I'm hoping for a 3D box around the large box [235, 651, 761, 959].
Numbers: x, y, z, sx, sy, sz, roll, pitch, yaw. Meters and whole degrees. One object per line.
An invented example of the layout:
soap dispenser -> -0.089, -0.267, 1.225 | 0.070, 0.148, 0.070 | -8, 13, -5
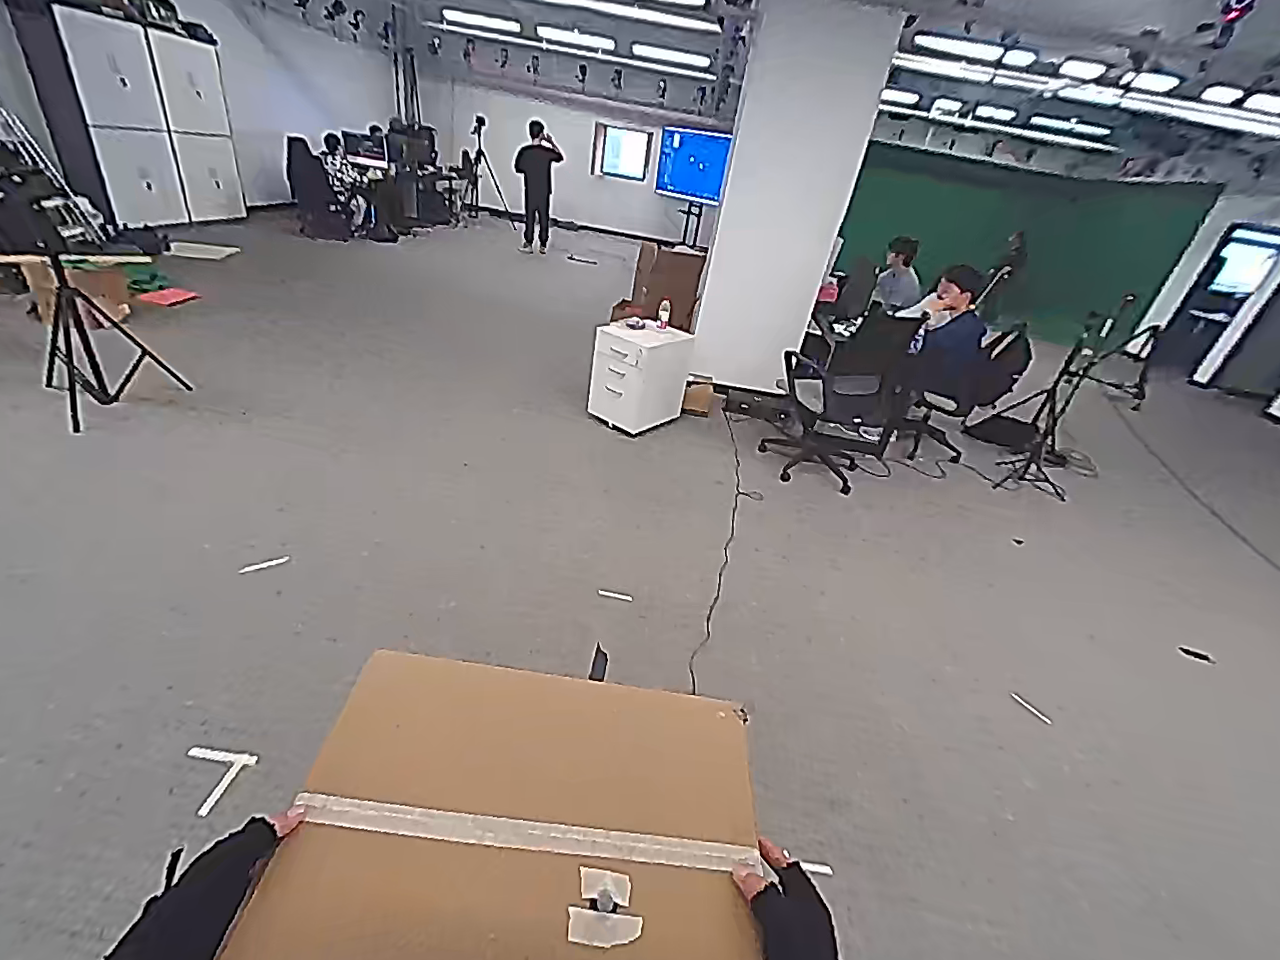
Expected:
large box -> -0.120, 0.427, 0.577 | 0.408, 0.320, 0.320 | 10, 38, -4
